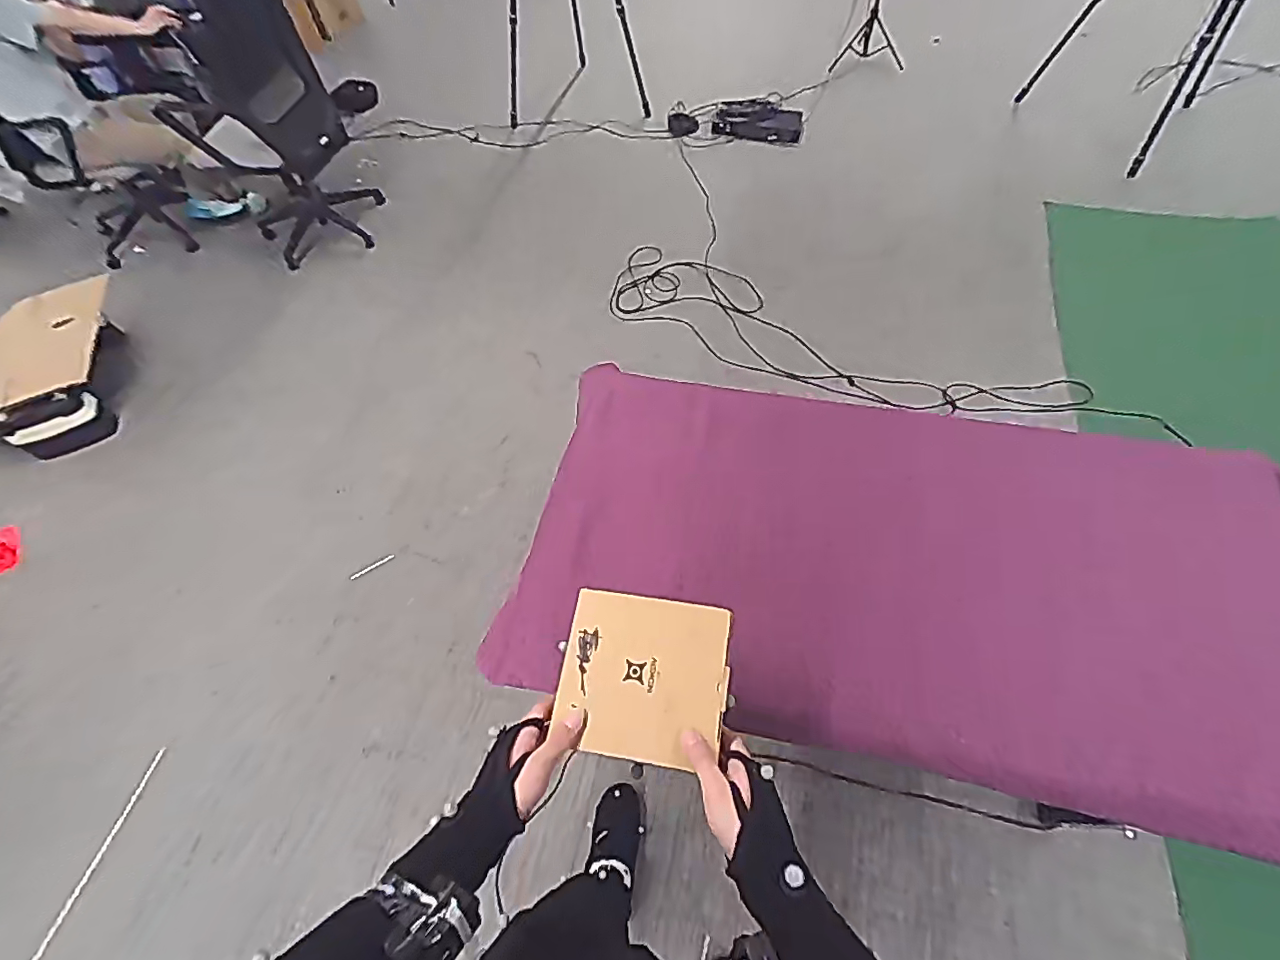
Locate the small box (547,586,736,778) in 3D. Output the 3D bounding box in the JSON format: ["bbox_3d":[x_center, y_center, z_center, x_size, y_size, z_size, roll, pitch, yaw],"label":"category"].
[{"bbox_3d":[0.010,0.241,0.637,0.179,0.176,0.168,8,62,8],"label":"small box"}]
